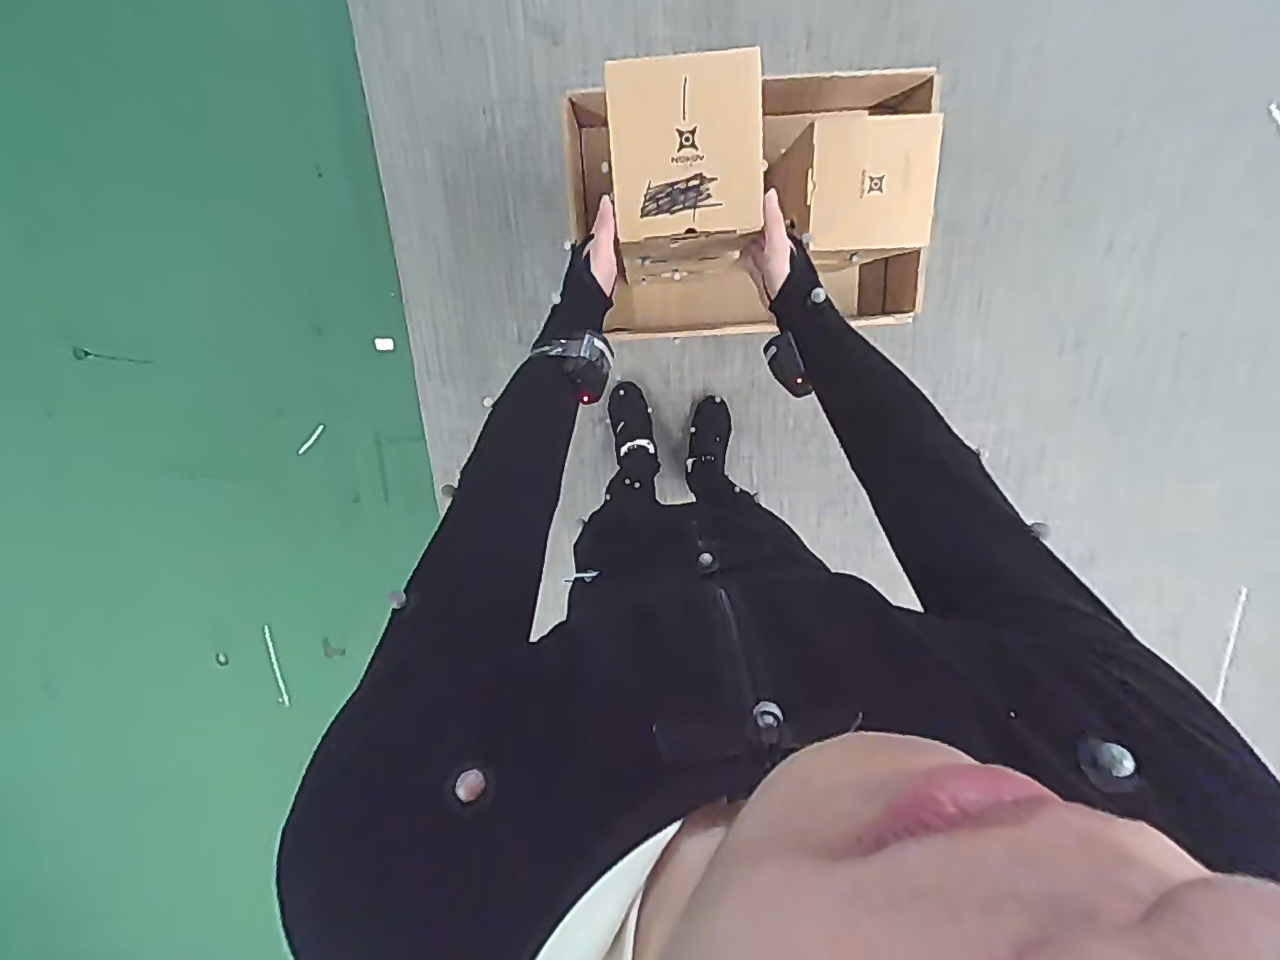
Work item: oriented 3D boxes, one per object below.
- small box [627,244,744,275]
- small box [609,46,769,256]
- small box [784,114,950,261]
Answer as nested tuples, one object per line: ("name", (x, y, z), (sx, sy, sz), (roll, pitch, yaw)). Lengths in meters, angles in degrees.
("small box", (0.060, -0.411, 0.810), (0.168, 0.176, 0.179), (-3, 105, 1))
("small box", (0.056, -0.374, 0.650), (0.168, 0.176, 0.179), (-4, 105, 1))
("small box", (0.323, -0.424, 0.810), (0.179, 0.176, 0.168), (-2, 107, 0))
